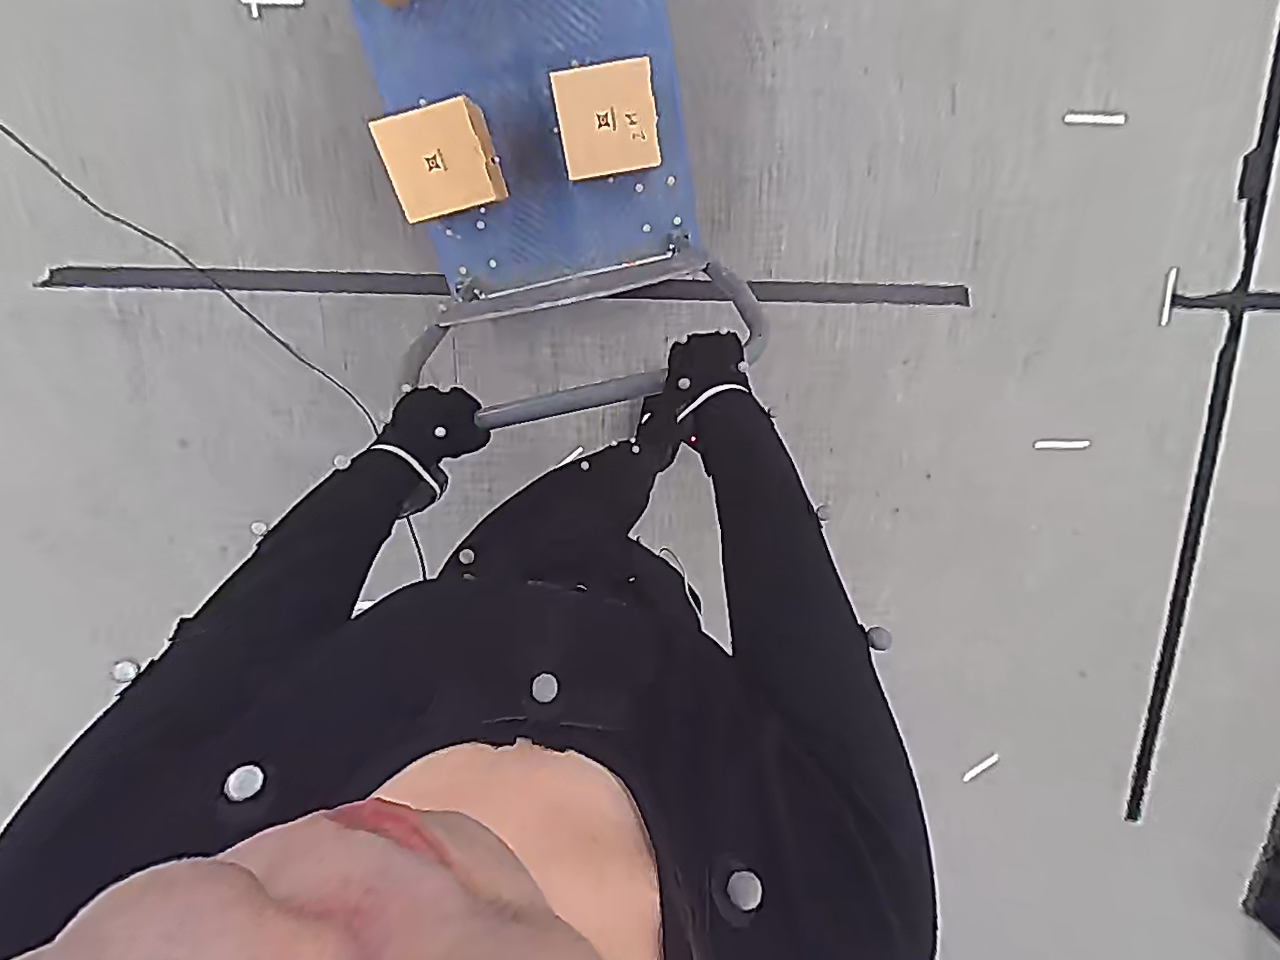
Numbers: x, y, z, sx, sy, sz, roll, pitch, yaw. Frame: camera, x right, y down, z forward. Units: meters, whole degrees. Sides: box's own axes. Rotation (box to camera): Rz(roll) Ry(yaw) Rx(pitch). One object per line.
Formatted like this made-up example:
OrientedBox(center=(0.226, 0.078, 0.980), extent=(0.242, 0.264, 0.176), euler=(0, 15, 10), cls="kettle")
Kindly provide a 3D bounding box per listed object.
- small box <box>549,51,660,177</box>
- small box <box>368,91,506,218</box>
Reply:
OrientedBox(center=(-0.064, -0.680, 1.022), extent=(0.179, 0.176, 0.168), euler=(-10, 119, -1), cls="small box")
OrientedBox(center=(-0.373, -0.609, 1.030), extent=(0.179, 0.176, 0.168), euler=(-16, 119, 1), cls="small box")
